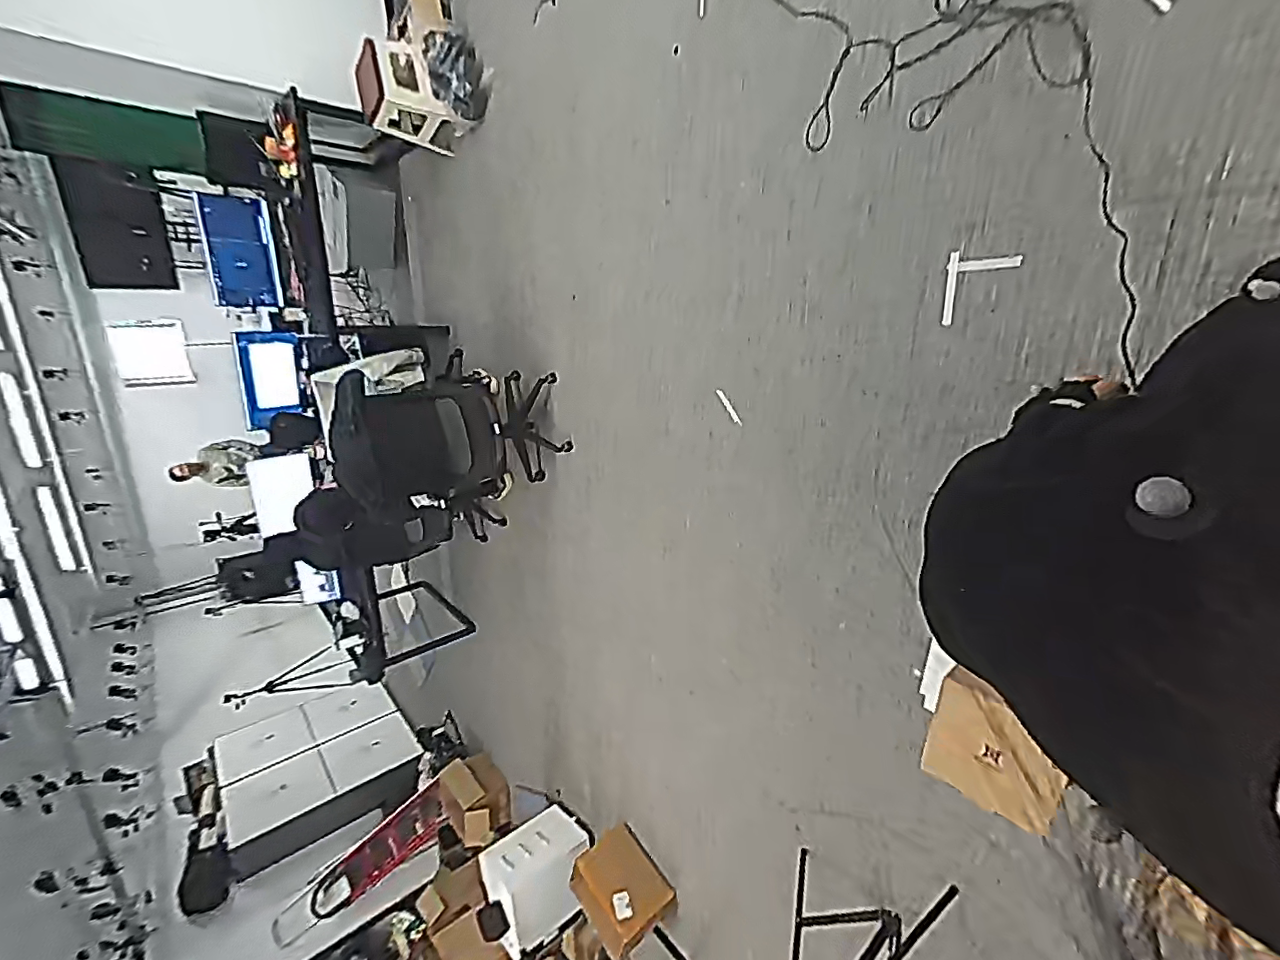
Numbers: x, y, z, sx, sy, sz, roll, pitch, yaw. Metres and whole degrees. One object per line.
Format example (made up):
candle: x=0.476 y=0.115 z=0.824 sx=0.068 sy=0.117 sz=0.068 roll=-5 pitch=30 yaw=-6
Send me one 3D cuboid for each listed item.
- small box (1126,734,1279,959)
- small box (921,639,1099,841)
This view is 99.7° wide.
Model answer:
small box: x=0.717 y=0.443 z=0.634 sx=0.168 sy=0.176 sz=0.179 roll=23 pitch=118 yaw=45
small box: x=0.554 y=0.374 z=0.811 sx=0.168 sy=0.176 sz=0.179 roll=20 pitch=114 yaw=44
